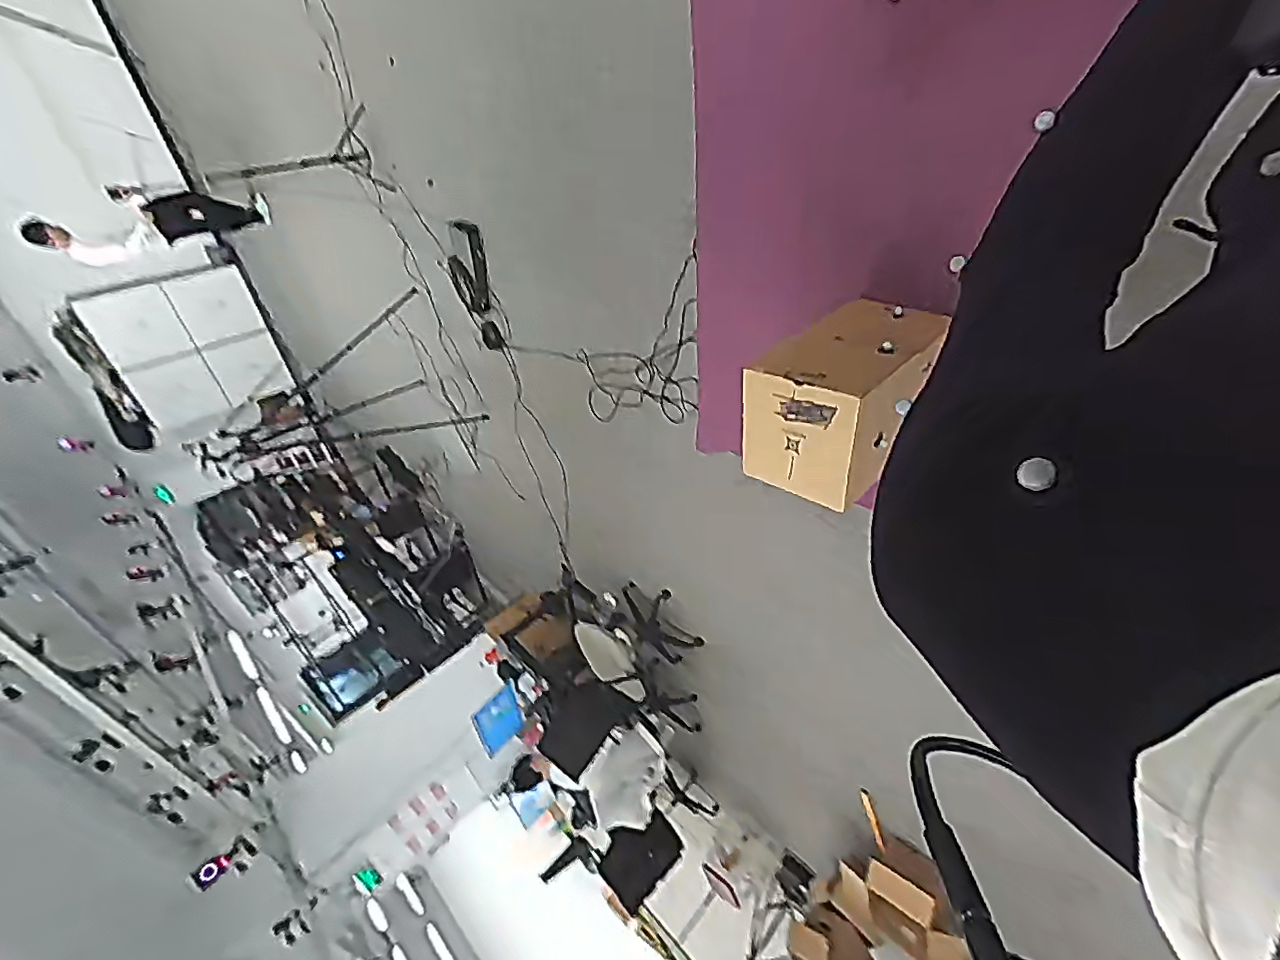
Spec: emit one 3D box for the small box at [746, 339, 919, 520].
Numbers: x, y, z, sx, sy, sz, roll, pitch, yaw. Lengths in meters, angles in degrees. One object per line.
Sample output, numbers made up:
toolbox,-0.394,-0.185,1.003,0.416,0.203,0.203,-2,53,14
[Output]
small box,0.266,-0.081,0.757,0.168,0.176,0.179,25,136,37
